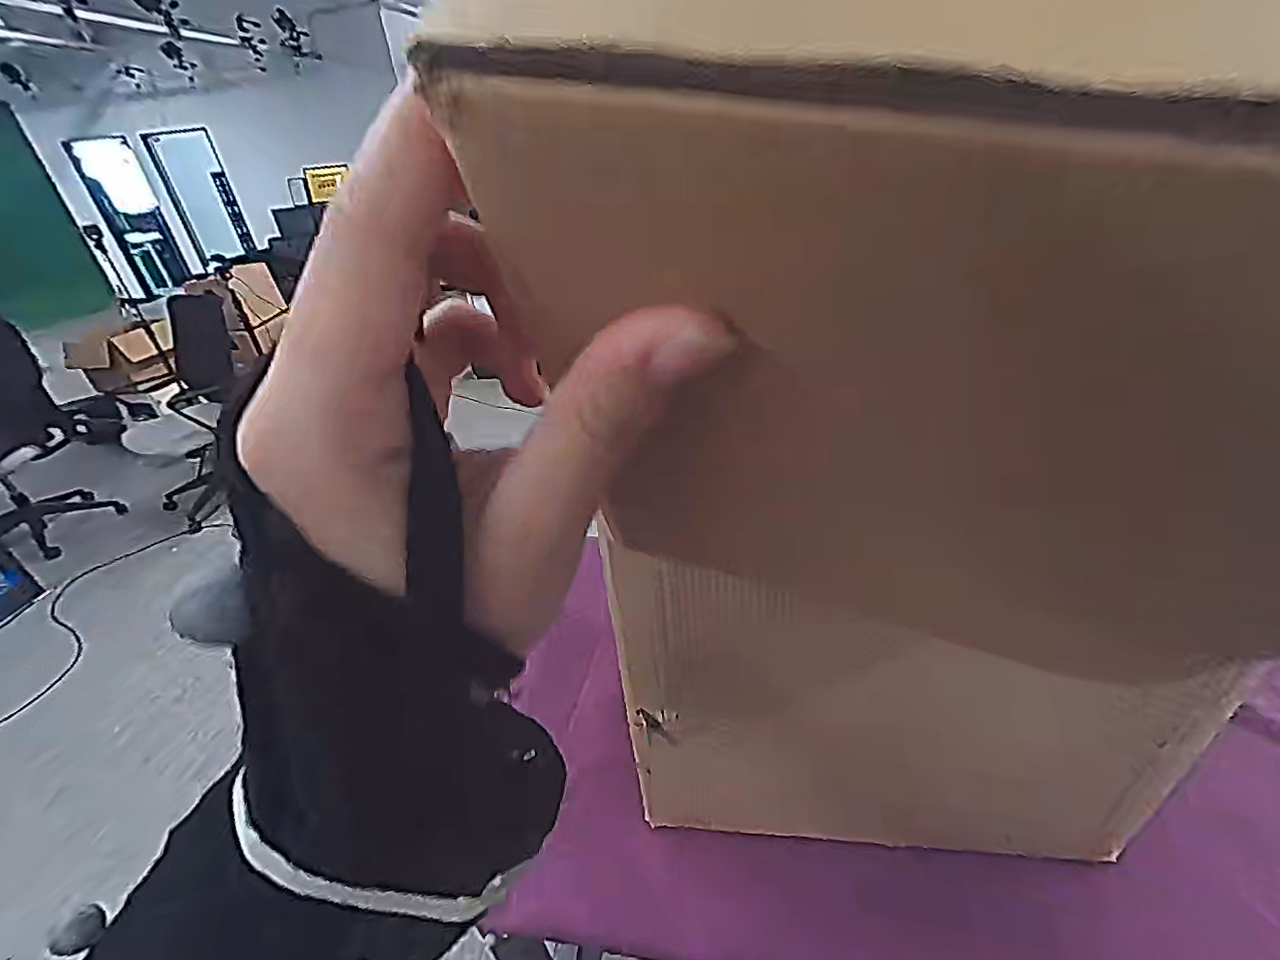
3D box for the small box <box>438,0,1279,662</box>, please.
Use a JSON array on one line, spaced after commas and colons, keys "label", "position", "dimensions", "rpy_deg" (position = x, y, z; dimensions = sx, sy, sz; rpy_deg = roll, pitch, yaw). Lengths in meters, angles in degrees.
[{"label": "small box", "position": [0.087, -0.062, 0.152], "dimensions": [0.179, 0.176, 0.168], "rpy_deg": [14, 66, 13]}]
